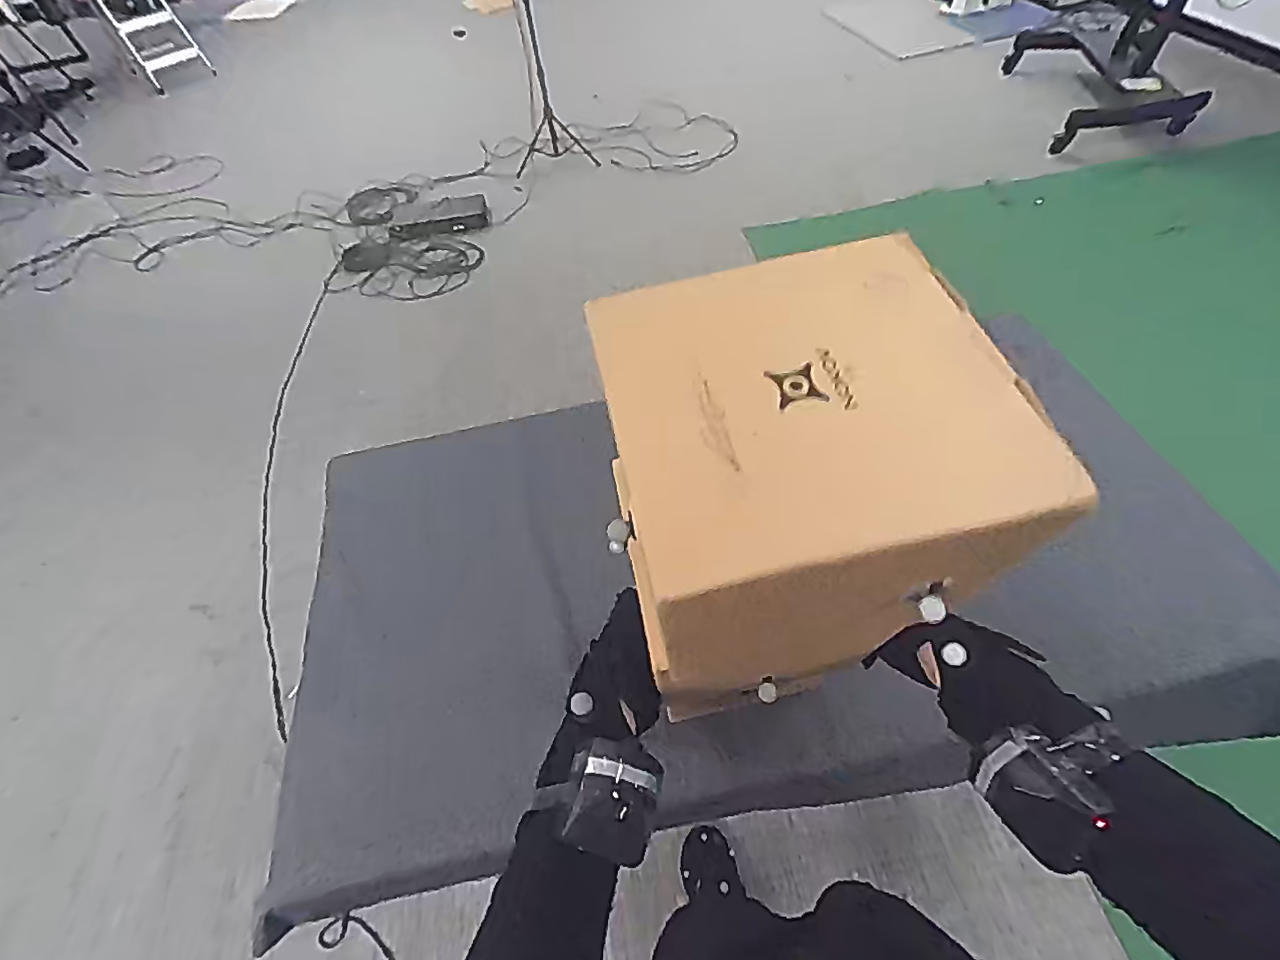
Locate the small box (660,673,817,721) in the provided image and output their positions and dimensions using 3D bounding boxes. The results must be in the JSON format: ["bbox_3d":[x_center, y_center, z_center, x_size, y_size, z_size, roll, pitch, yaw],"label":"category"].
[{"bbox_3d":[0.093,0.156,0.609,0.179,0.176,0.168,-13,56,-2],"label":"small box"}]

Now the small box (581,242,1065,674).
[{"bbox_3d":[0.076,-0.001,0.318,0.179,0.176,0.168,-14,58,-1],"label":"small box"}]

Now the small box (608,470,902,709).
[{"bbox_3d":[0.080,0.081,0.461,0.179,0.176,0.168,-14,59,-3],"label":"small box"}]
